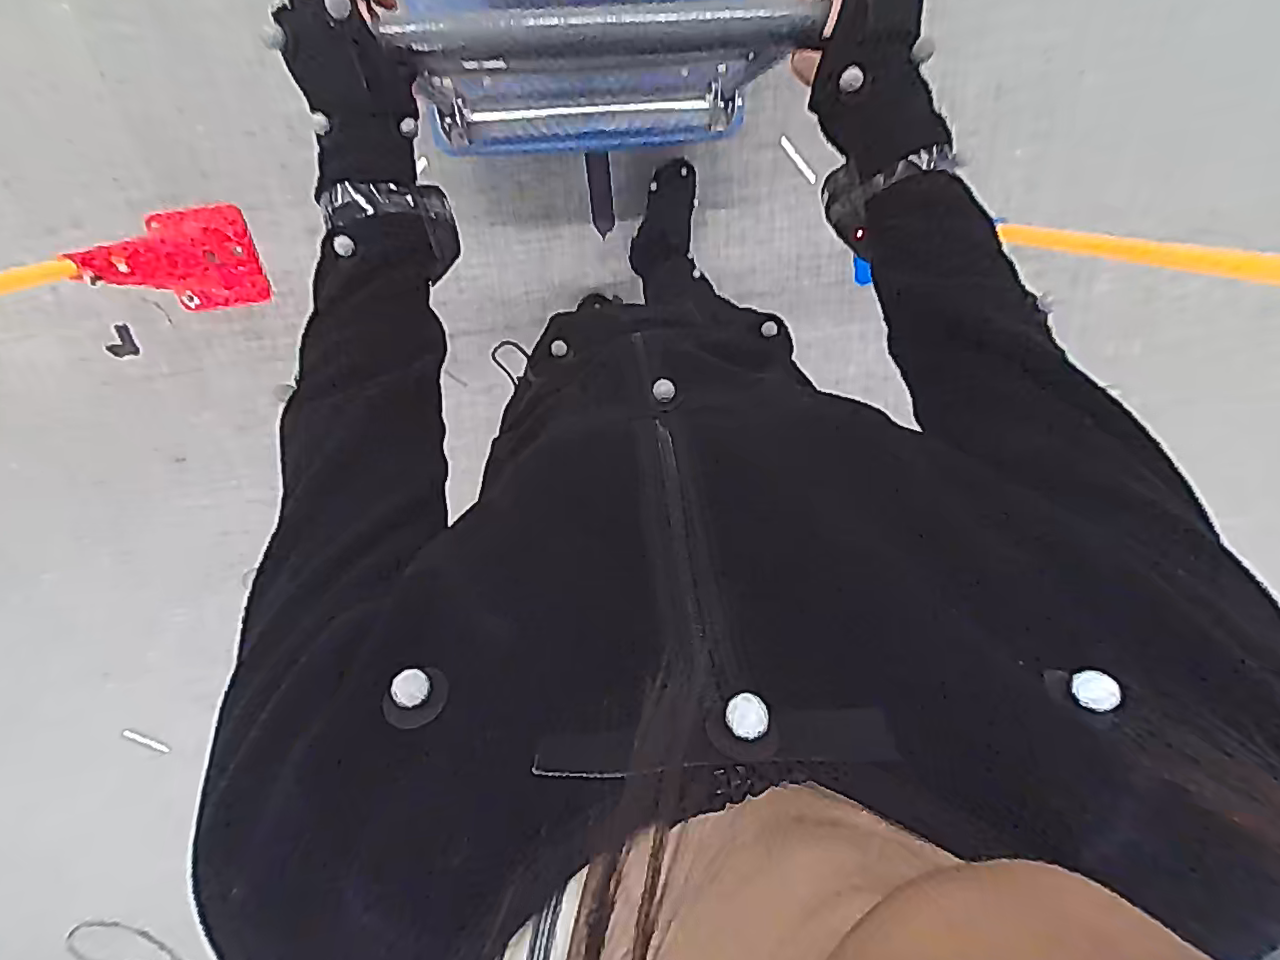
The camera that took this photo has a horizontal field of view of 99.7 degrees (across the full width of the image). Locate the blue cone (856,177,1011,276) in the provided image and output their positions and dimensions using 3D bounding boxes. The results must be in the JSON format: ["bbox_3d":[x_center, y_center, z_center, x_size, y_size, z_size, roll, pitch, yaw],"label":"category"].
[{"bbox_3d":[0.619,-0.527,1.120,0.193,0.380,0.192,-12,113,-1],"label":"blue cone"}]
